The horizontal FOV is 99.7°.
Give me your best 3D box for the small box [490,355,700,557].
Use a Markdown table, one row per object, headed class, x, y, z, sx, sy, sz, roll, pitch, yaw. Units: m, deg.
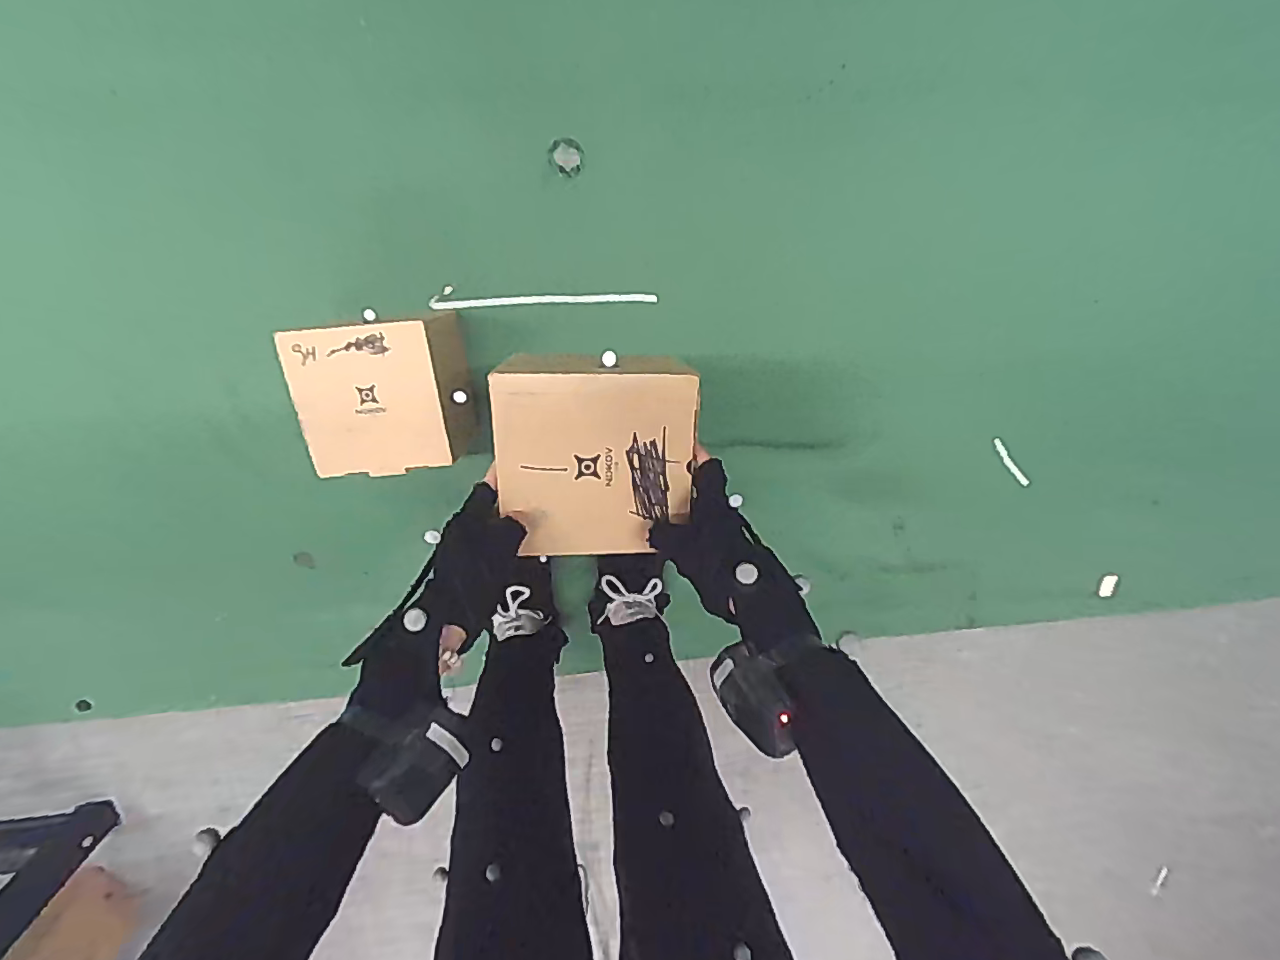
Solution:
| class | x | y | z | sx | sy | sz | roll | pitch | yaw |
| --- | --- | --- | --- | --- | --- | --- | --- | --- | --- |
| small box | -0.045 | -0.034 | 0.544 | 0.179 | 0.176 | 0.168 | -1 | 109 | -5 |
